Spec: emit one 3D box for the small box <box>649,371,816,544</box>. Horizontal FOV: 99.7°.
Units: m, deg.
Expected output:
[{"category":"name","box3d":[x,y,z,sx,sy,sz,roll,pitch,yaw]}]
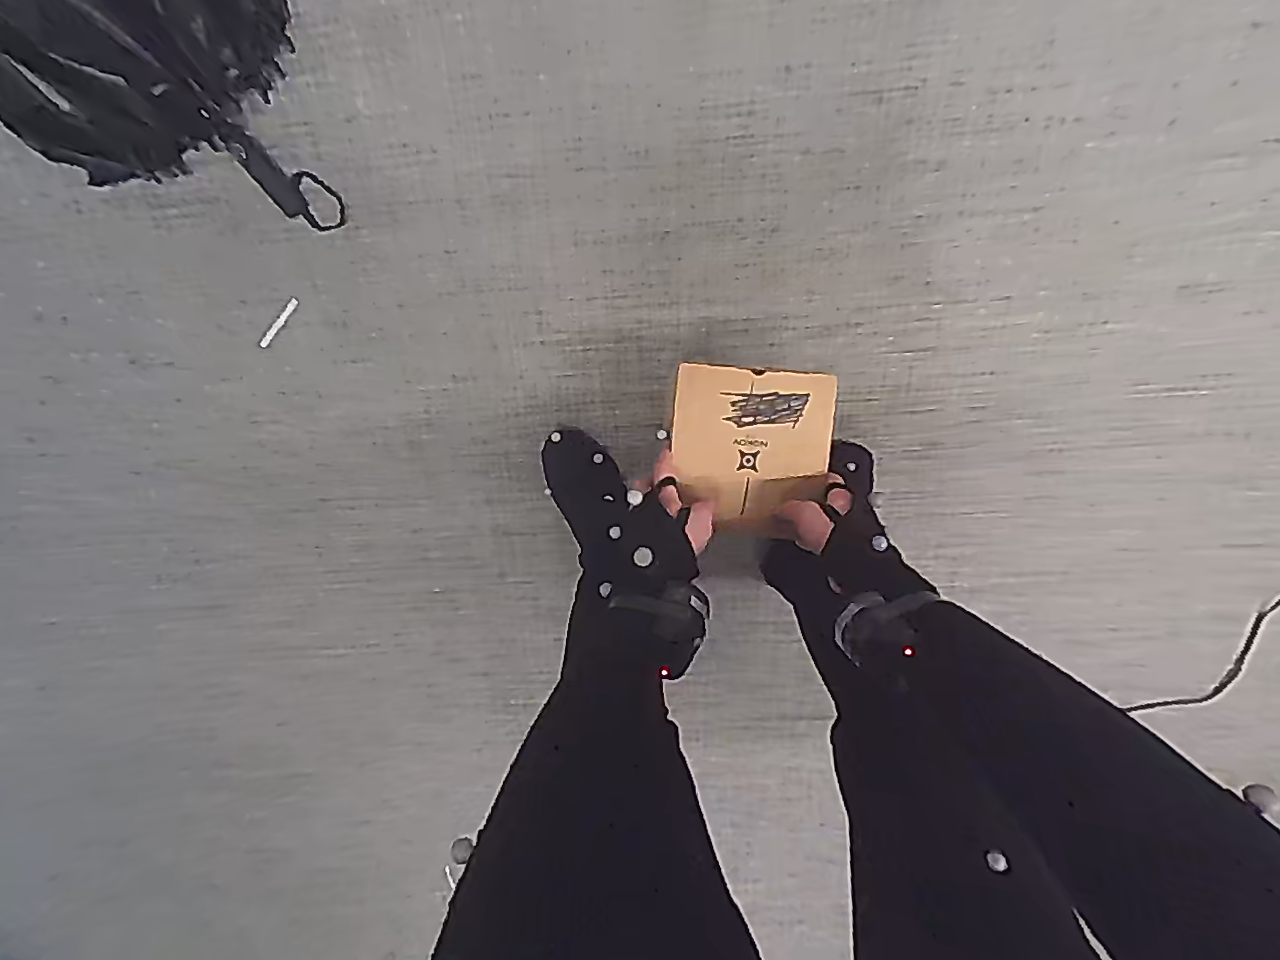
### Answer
[{"category":"small box","box3d":[0.099,-0.029,0.655,0.168,0.176,0.179,4,95,0]}]
